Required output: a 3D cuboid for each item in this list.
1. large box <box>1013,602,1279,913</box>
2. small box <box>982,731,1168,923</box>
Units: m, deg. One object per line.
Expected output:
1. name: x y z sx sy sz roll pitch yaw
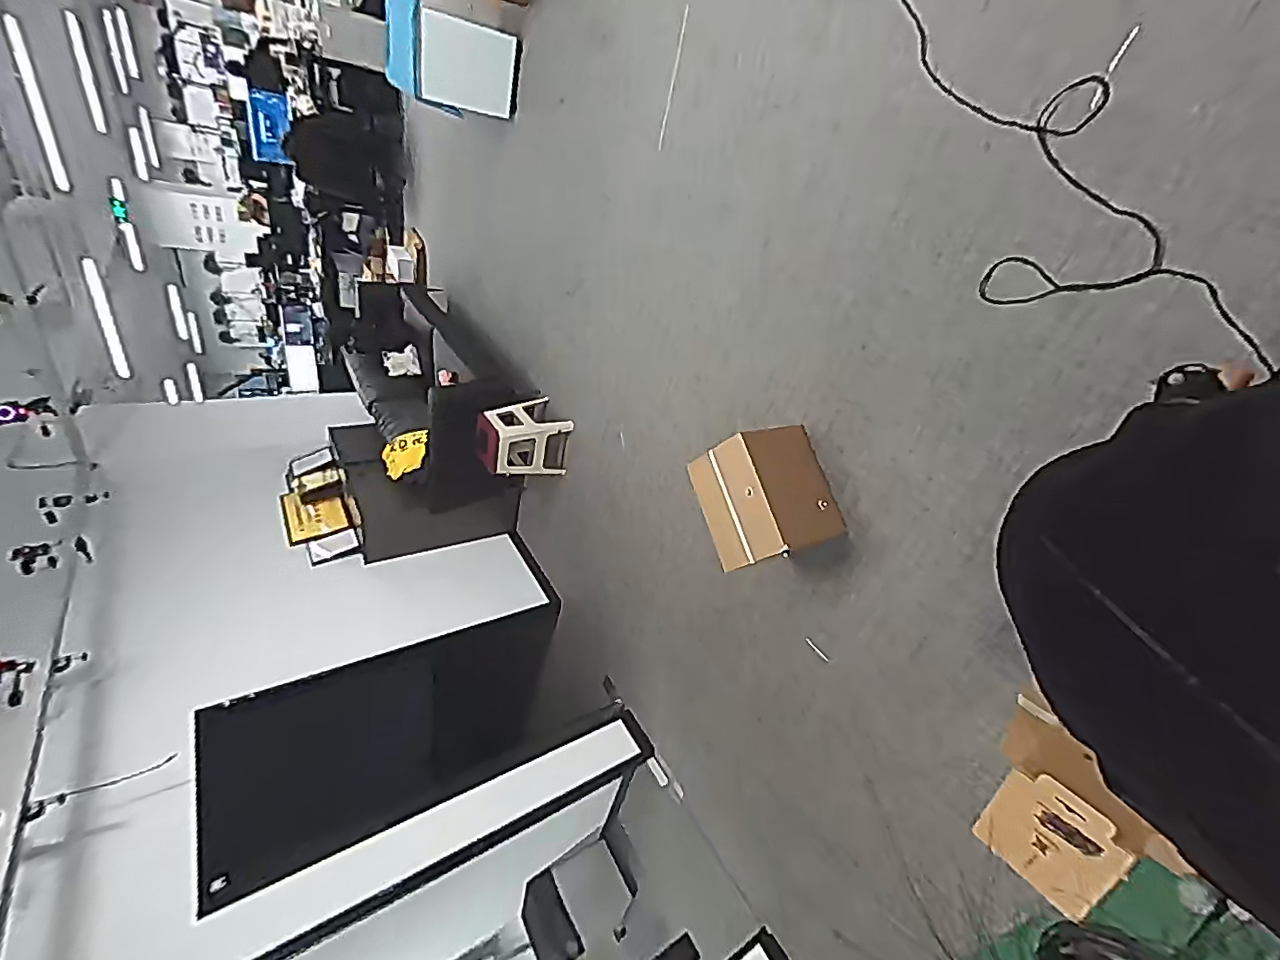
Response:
1. large box: 1.073 0.506 1.087 0.408 0.320 0.320 31 124 47
2. small box: 0.716 0.556 0.891 0.168 0.176 0.179 38 127 45
